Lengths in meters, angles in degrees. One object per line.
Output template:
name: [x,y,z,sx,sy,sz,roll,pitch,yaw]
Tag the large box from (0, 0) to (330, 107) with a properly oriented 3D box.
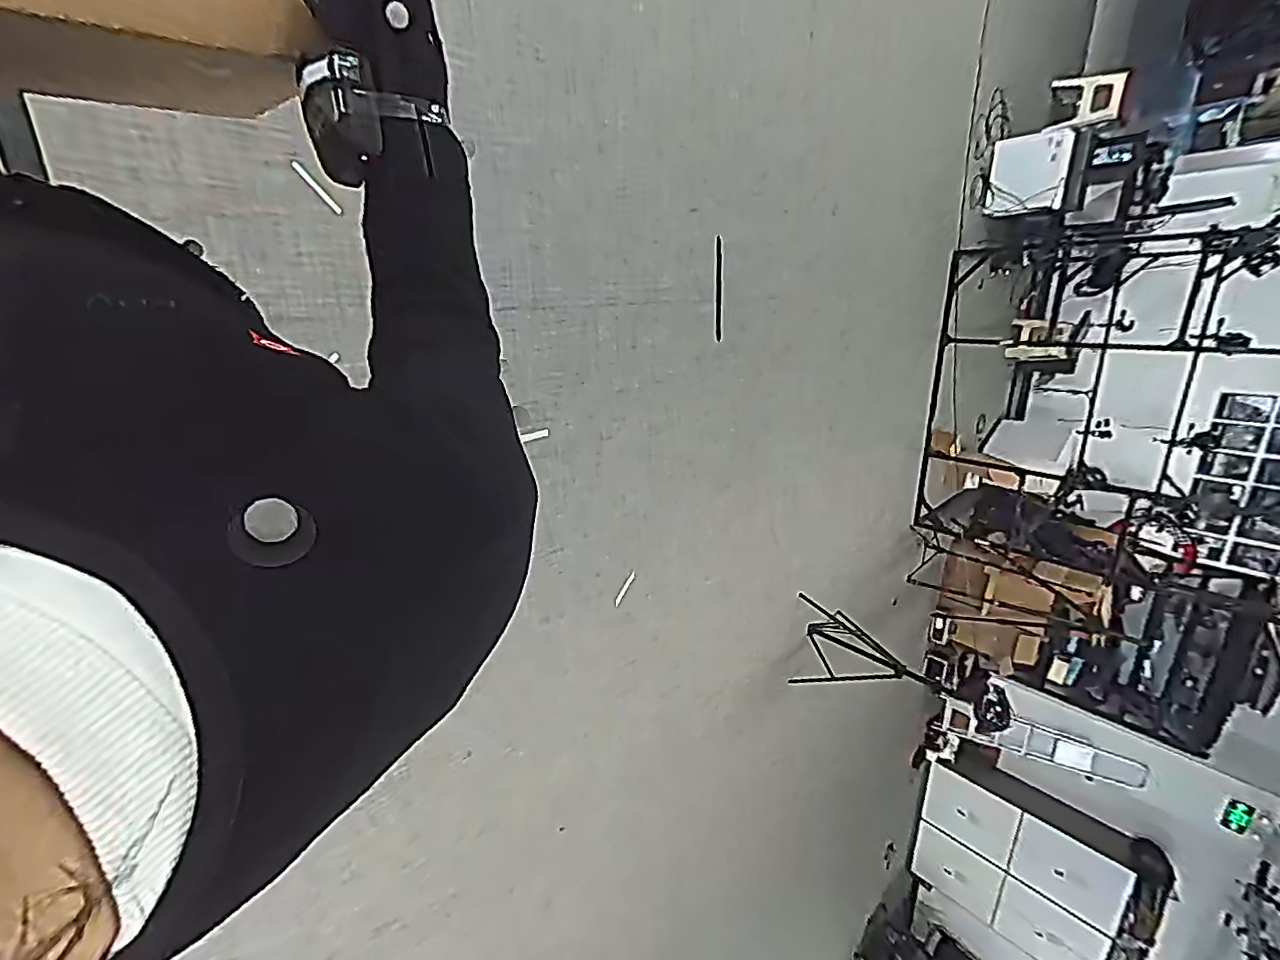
large box: [-0.451,-0.414,0.274,0.408,0.320,0.320,-21,125,-38]
